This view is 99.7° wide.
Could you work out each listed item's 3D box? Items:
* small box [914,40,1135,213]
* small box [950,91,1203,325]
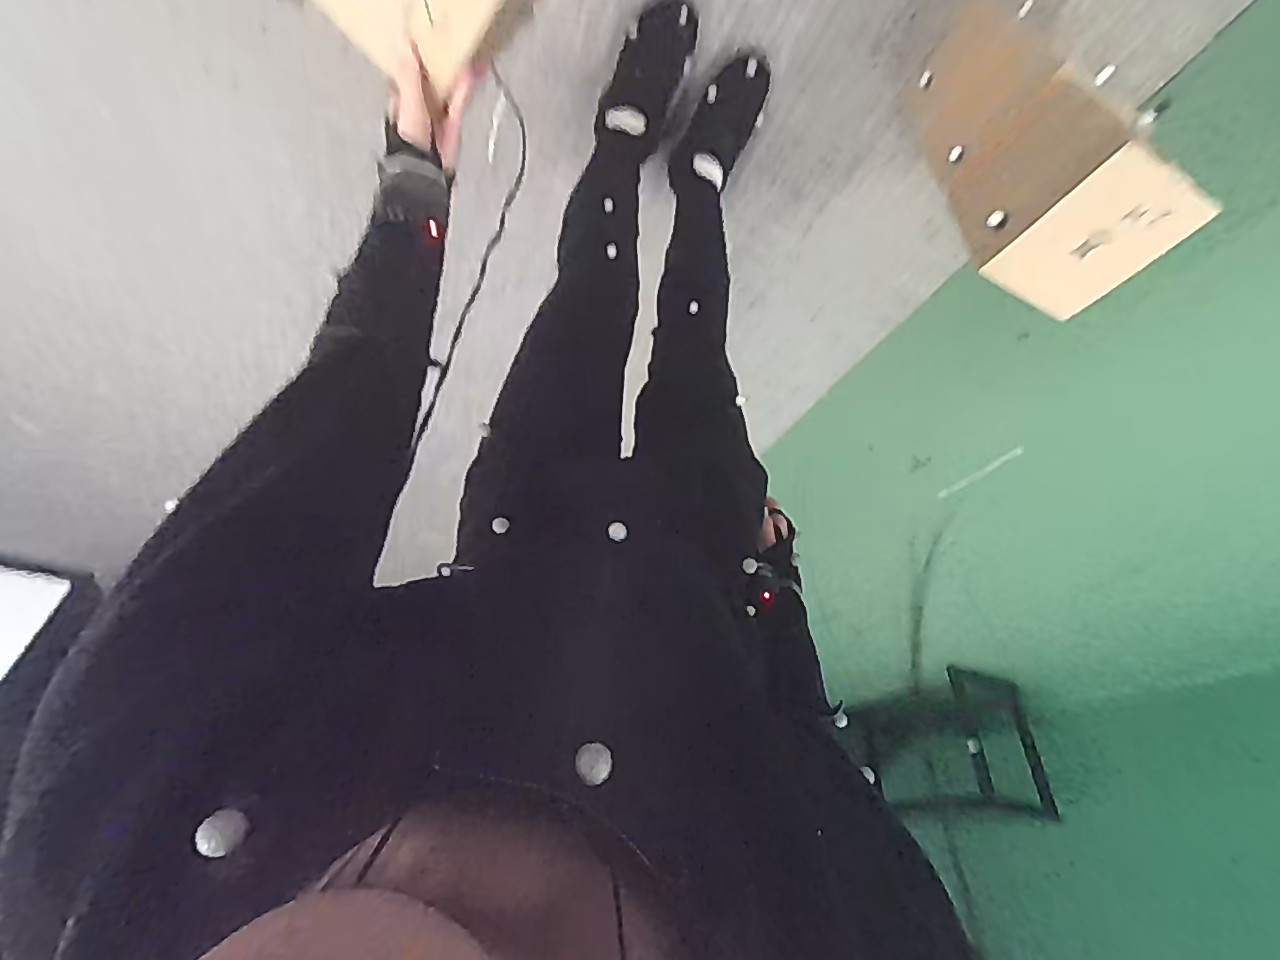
[{"bbox_3d":[0.534,-0.482,0.780,0.168,0.176,0.179,18,142,-18],"label":"small box"},{"bbox_3d":[0.533,-0.342,0.693,0.168,0.176,0.179,18,142,-19],"label":"small box"}]
